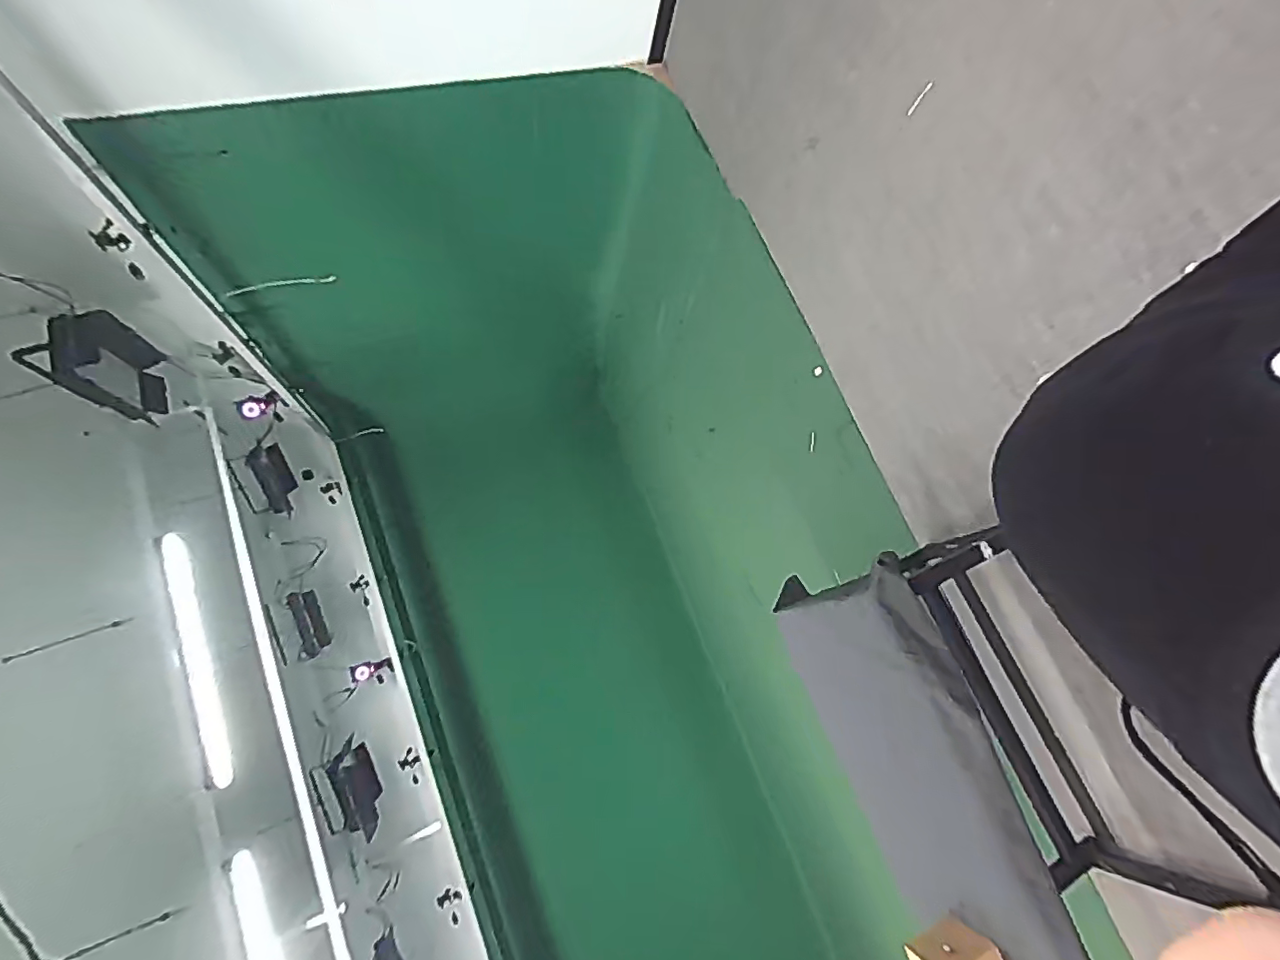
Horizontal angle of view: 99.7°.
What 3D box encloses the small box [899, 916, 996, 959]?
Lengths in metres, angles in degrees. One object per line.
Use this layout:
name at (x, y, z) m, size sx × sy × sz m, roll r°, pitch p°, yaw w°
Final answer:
small box at (0.843, 1.319, 1.439) m, size 0.179 × 0.176 × 0.168 m, roll 129°, pitch 121°, yaw -69°
